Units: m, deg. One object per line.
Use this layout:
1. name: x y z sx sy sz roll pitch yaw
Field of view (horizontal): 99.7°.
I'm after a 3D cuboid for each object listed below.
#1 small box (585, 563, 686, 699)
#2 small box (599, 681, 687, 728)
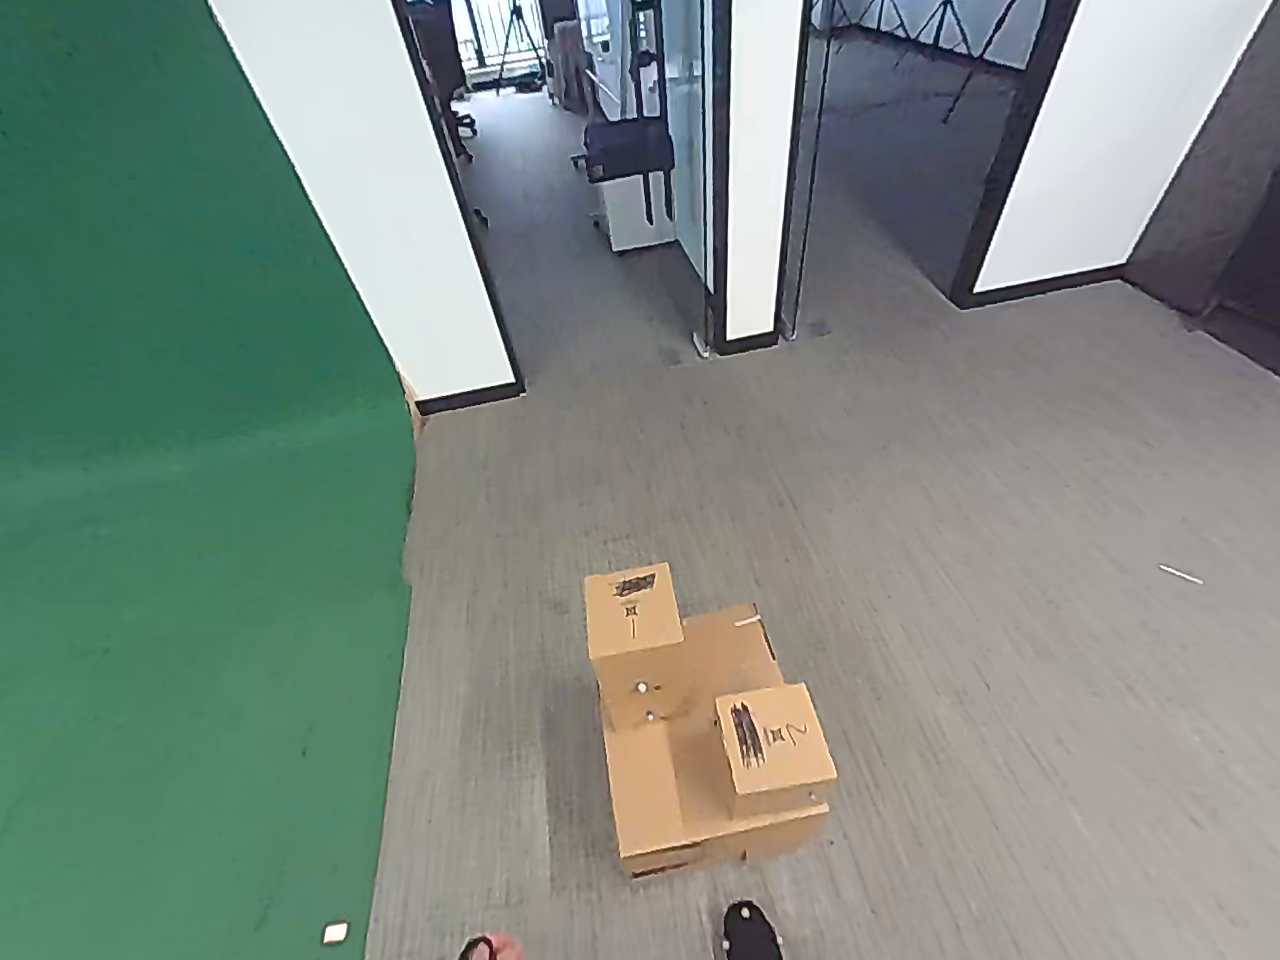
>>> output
1. small box: -0.009 0.287 1.030 0.168 0.176 0.179 -10 43 -1
2. small box: 0.000 0.397 1.154 0.168 0.176 0.179 -12 43 -2
